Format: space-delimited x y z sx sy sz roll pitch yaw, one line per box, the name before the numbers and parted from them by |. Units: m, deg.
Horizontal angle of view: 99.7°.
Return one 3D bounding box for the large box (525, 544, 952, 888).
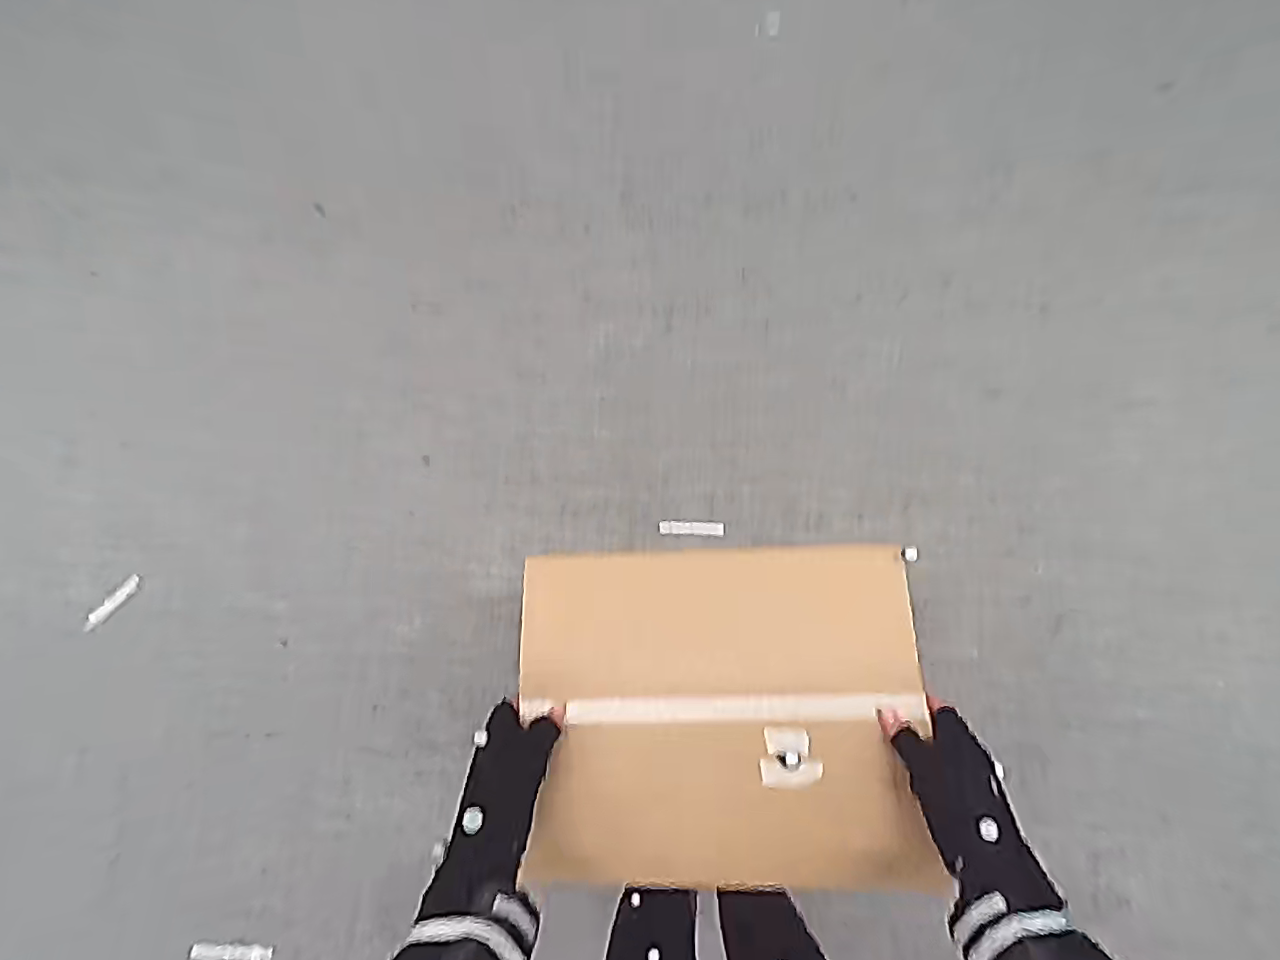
large box | 0.091 0.266 0.683 0.408 0.320 0.320 -3 75 4
